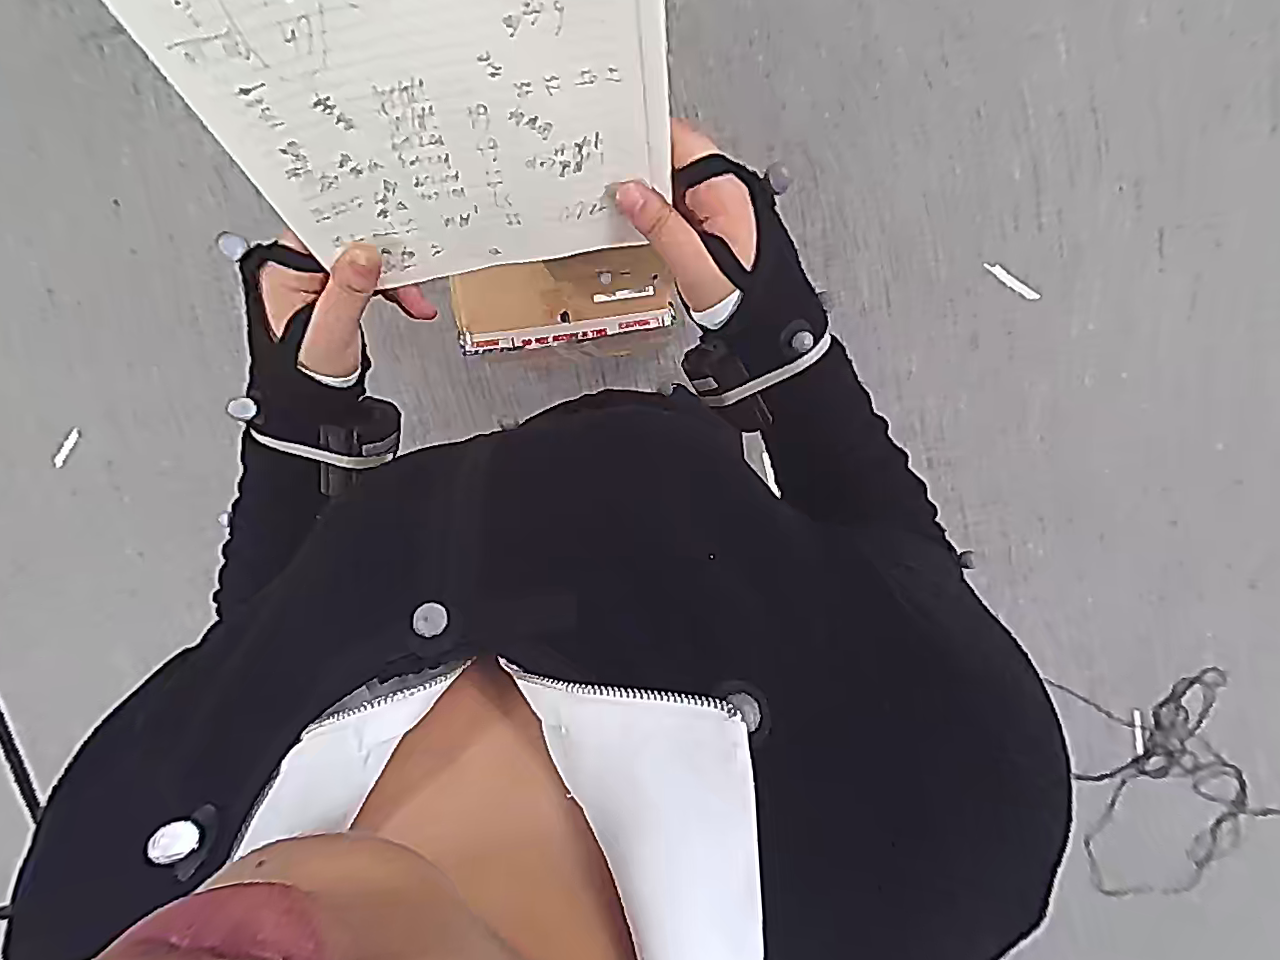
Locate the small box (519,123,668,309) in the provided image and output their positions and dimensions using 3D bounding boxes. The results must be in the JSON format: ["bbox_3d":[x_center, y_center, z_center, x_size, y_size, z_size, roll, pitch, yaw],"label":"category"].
[{"bbox_3d":[-0.056,-0.334,0.713,0.168,0.176,0.179,-5,100,0],"label":"small box"}]

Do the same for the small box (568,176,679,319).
[{"bbox_3d":[-0.040,-0.365,0.875,0.179,0.176,0.168,-9,99,1],"label":"small box"}]
